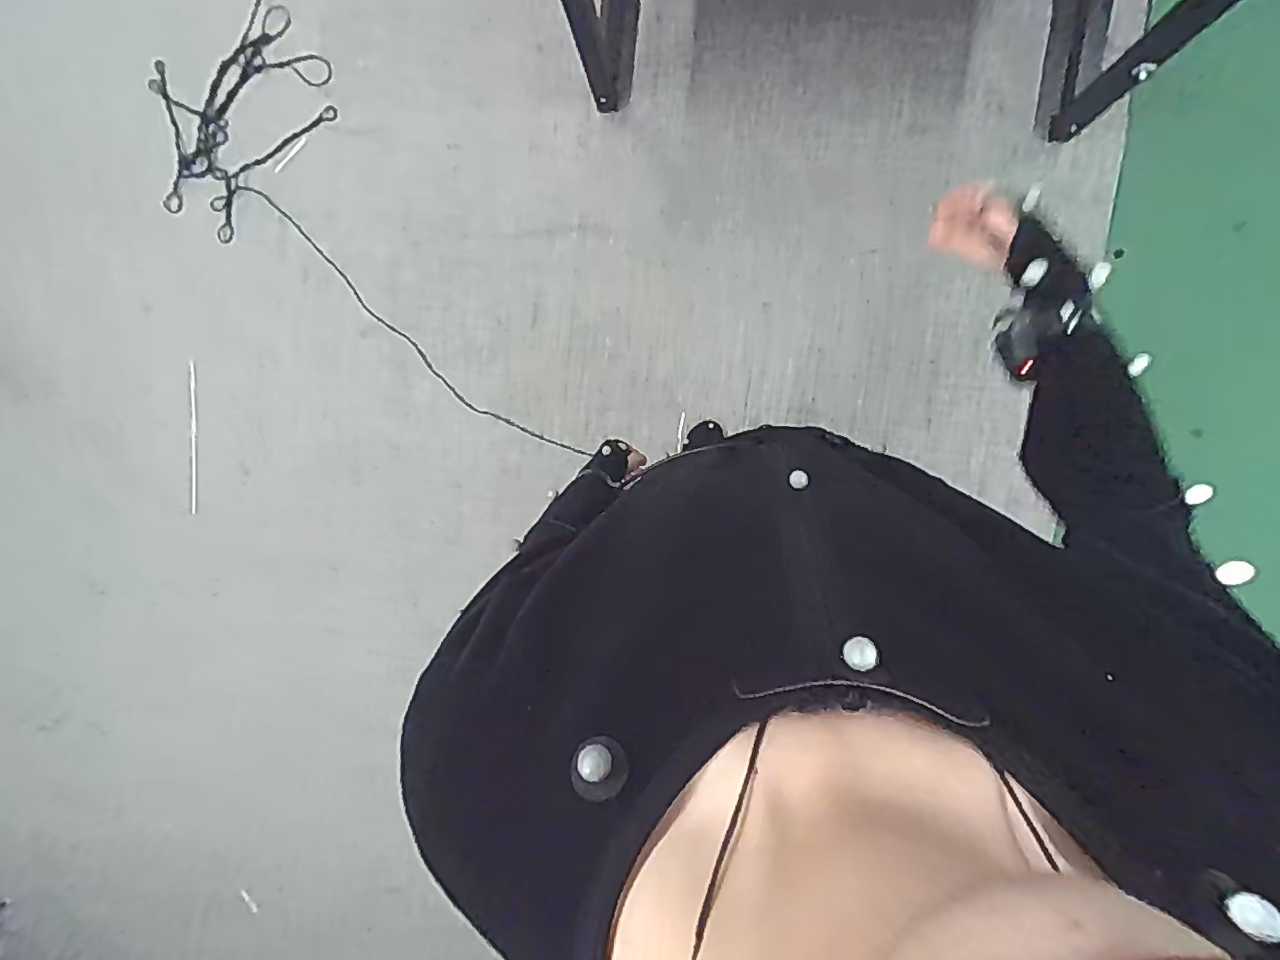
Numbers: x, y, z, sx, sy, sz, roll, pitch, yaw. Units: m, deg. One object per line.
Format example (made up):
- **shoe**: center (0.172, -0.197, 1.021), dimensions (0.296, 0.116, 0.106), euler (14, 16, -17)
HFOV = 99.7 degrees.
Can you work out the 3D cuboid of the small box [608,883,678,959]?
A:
- **small box**: center (0.011, 1.311, 1.555), dimensions (0.179, 0.176, 0.168), euler (10, 96, 7)
